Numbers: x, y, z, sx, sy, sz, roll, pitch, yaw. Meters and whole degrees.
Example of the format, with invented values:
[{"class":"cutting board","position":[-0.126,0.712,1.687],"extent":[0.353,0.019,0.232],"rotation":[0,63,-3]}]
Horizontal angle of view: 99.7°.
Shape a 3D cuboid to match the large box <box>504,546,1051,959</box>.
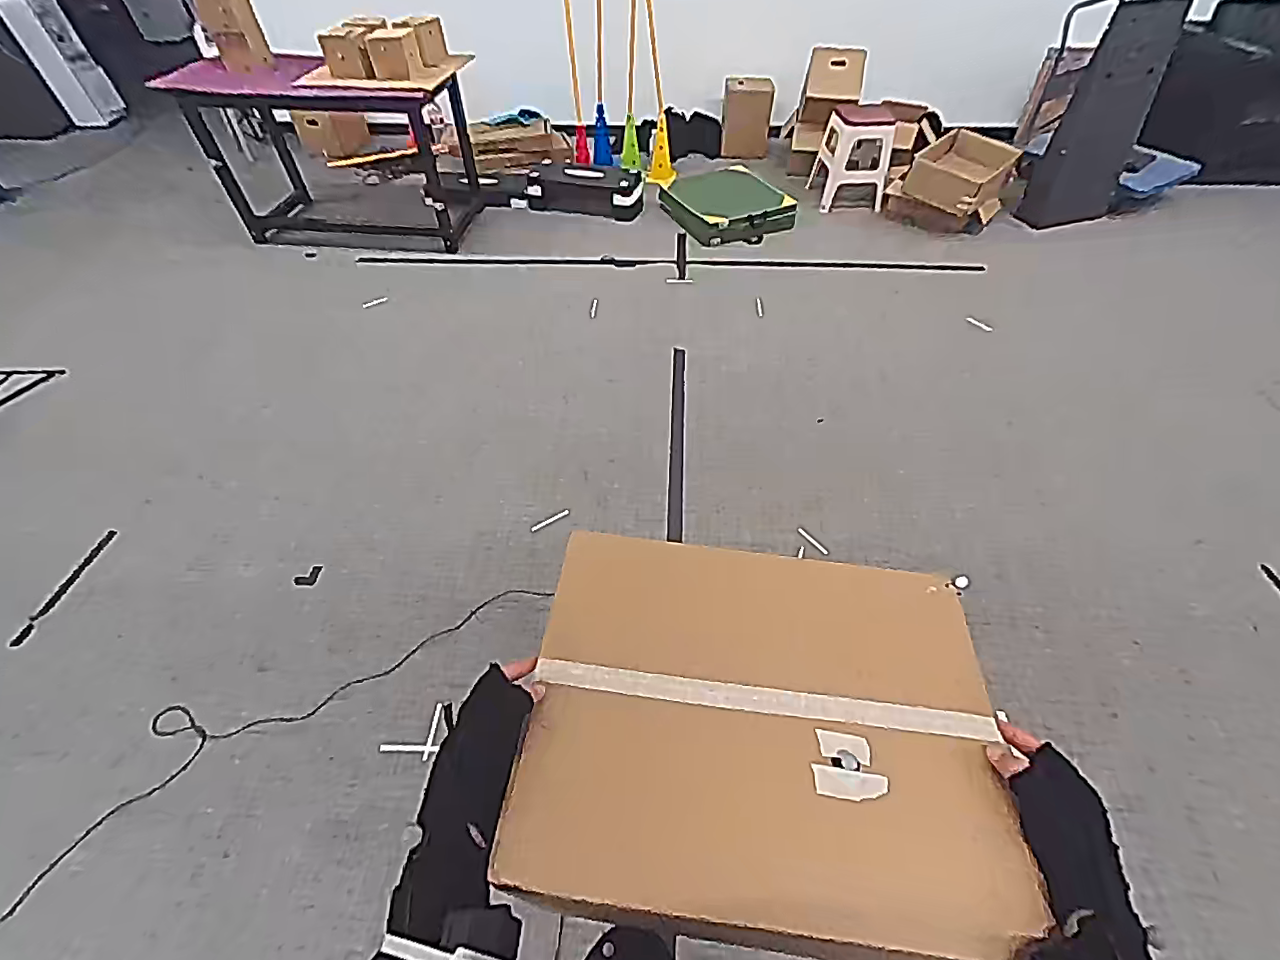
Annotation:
[{"class":"large box","position":[0.103,0.304,0.595],"extent":[0.408,0.320,0.320],"rotation":[7,50,3]}]
